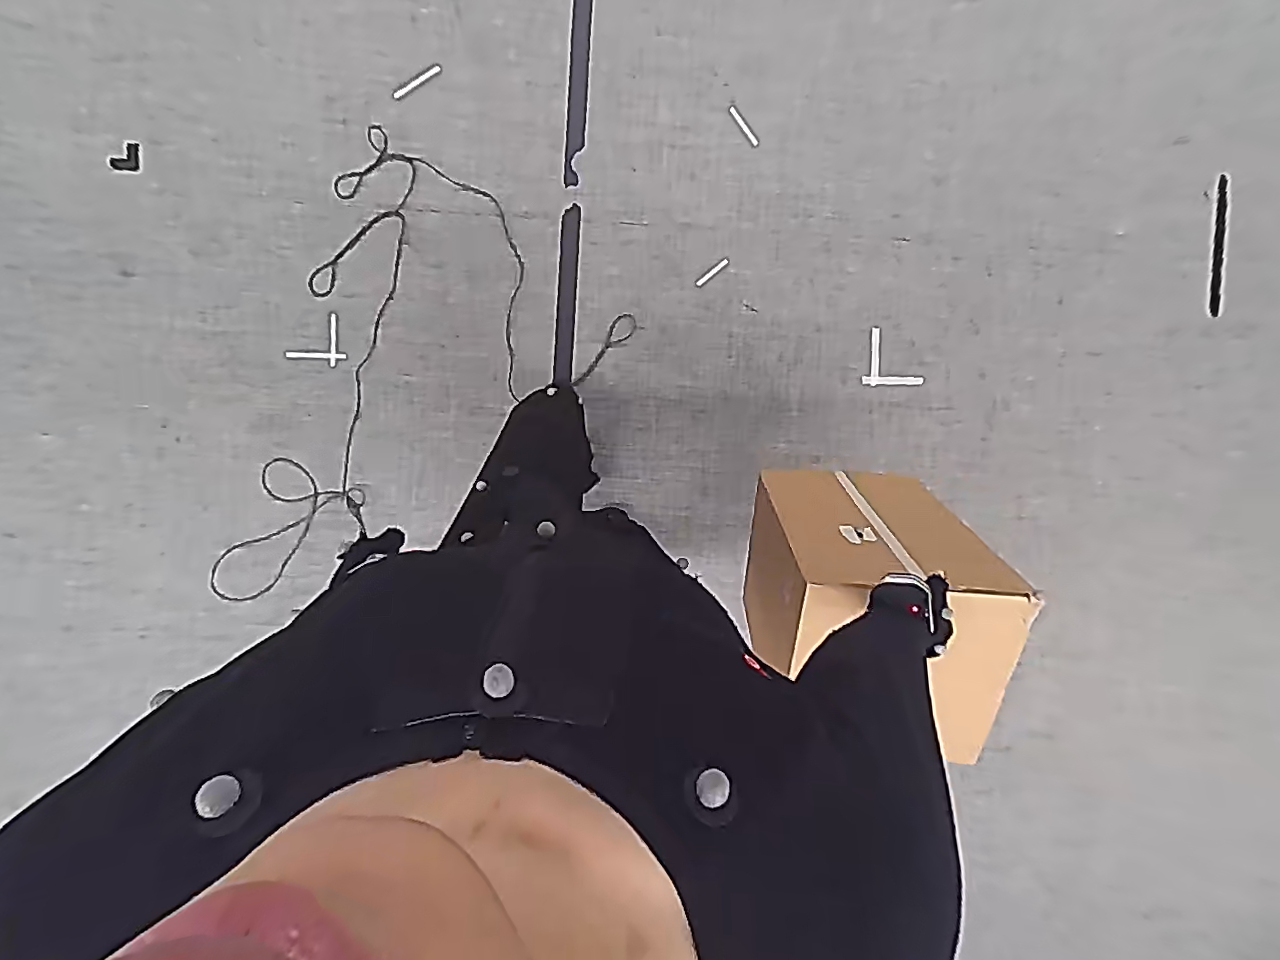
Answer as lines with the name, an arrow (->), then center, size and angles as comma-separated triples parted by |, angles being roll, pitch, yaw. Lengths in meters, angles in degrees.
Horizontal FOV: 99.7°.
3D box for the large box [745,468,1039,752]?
large box -> 0.387, 0.205, 0.972 | 0.320, 0.408, 0.320 | 3, 115, 1
